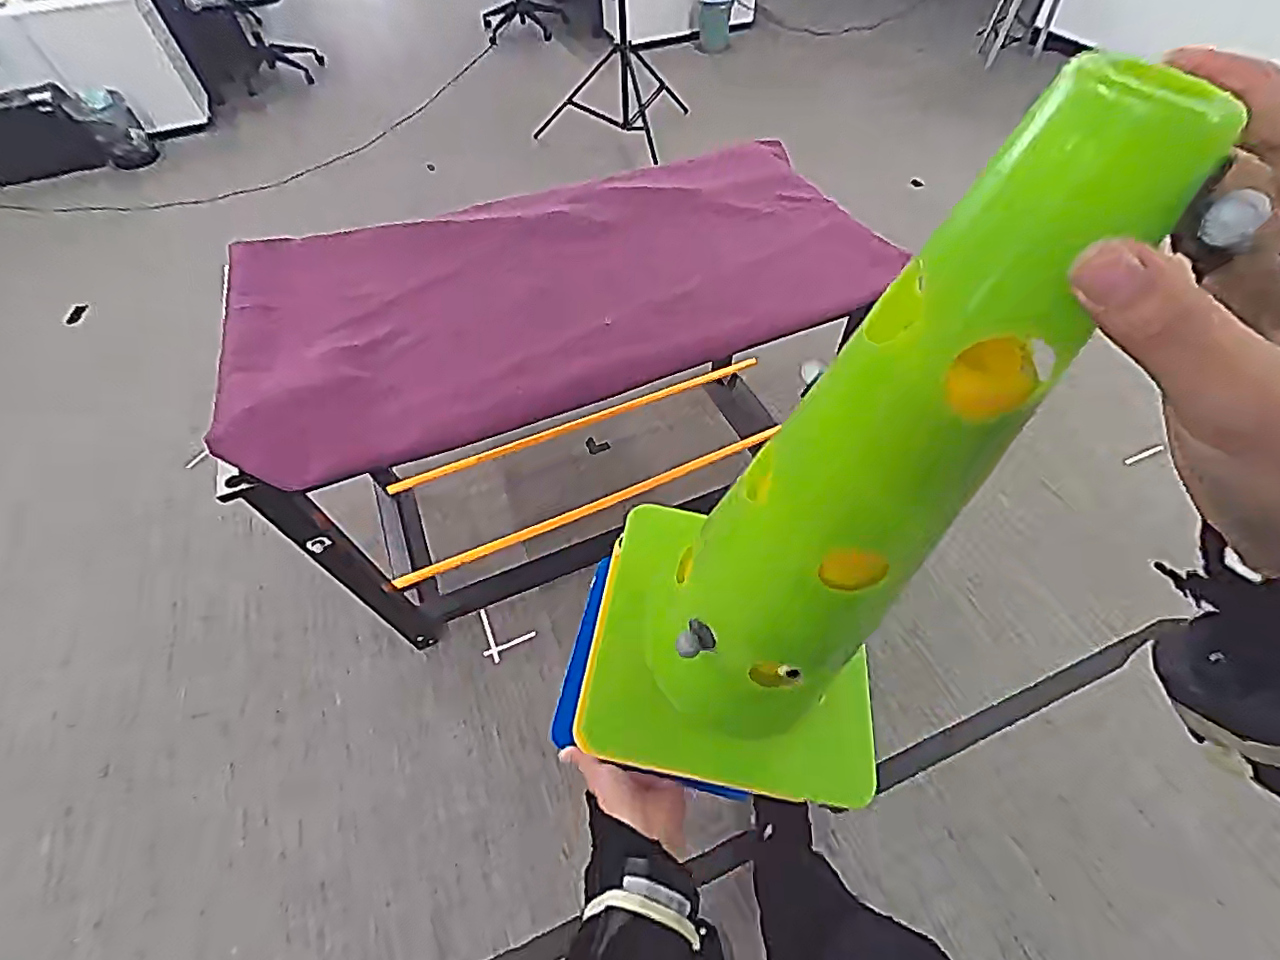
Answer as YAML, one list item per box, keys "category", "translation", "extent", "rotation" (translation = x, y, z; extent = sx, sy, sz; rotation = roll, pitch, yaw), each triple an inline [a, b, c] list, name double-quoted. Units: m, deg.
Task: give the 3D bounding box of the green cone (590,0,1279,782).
- category: "green cone"
  translation: [0.098, -0.001, 0.265]
  extent: [0.200, 0.368, 0.202]
  rotation: [12, 53, 0]
